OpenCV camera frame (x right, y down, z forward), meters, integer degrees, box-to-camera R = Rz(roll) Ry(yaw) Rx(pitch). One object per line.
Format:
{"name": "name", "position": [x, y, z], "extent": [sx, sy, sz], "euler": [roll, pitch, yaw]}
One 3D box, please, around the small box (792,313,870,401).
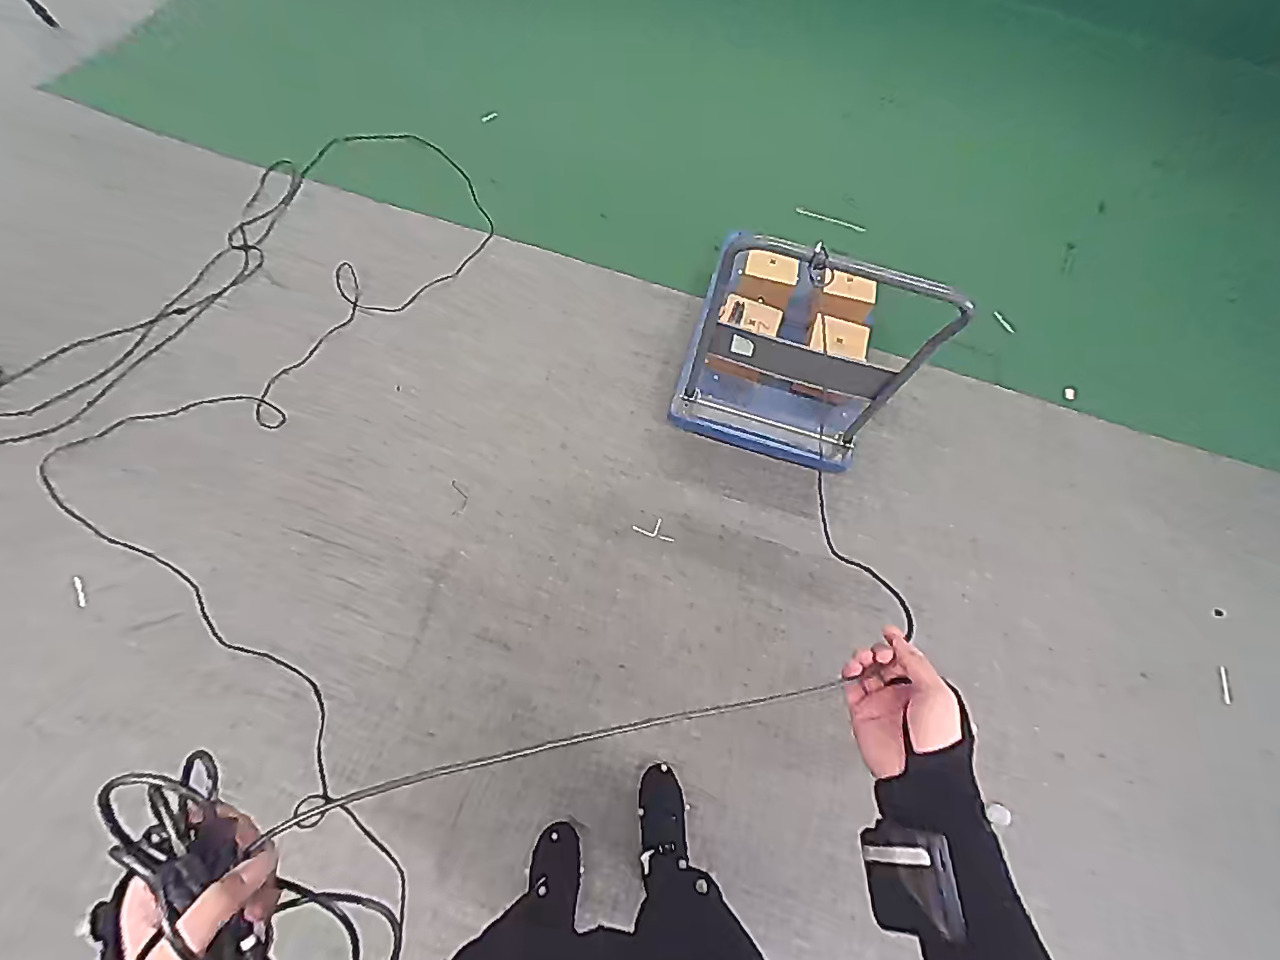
{"name": "small box", "position": [0.587, -0.376, 1.674], "extent": [0.168, 0.176, 0.179], "euler": [18, 66, 4]}

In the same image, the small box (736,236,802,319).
{"name": "small box", "position": [0.424, -0.667, 1.797], "extent": [0.168, 0.176, 0.179], "euler": [15, 64, 1]}

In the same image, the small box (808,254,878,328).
{"name": "small box", "position": [0.668, -0.607, 1.789], "extent": [0.168, 0.176, 0.179], "euler": [14, 66, 3]}
